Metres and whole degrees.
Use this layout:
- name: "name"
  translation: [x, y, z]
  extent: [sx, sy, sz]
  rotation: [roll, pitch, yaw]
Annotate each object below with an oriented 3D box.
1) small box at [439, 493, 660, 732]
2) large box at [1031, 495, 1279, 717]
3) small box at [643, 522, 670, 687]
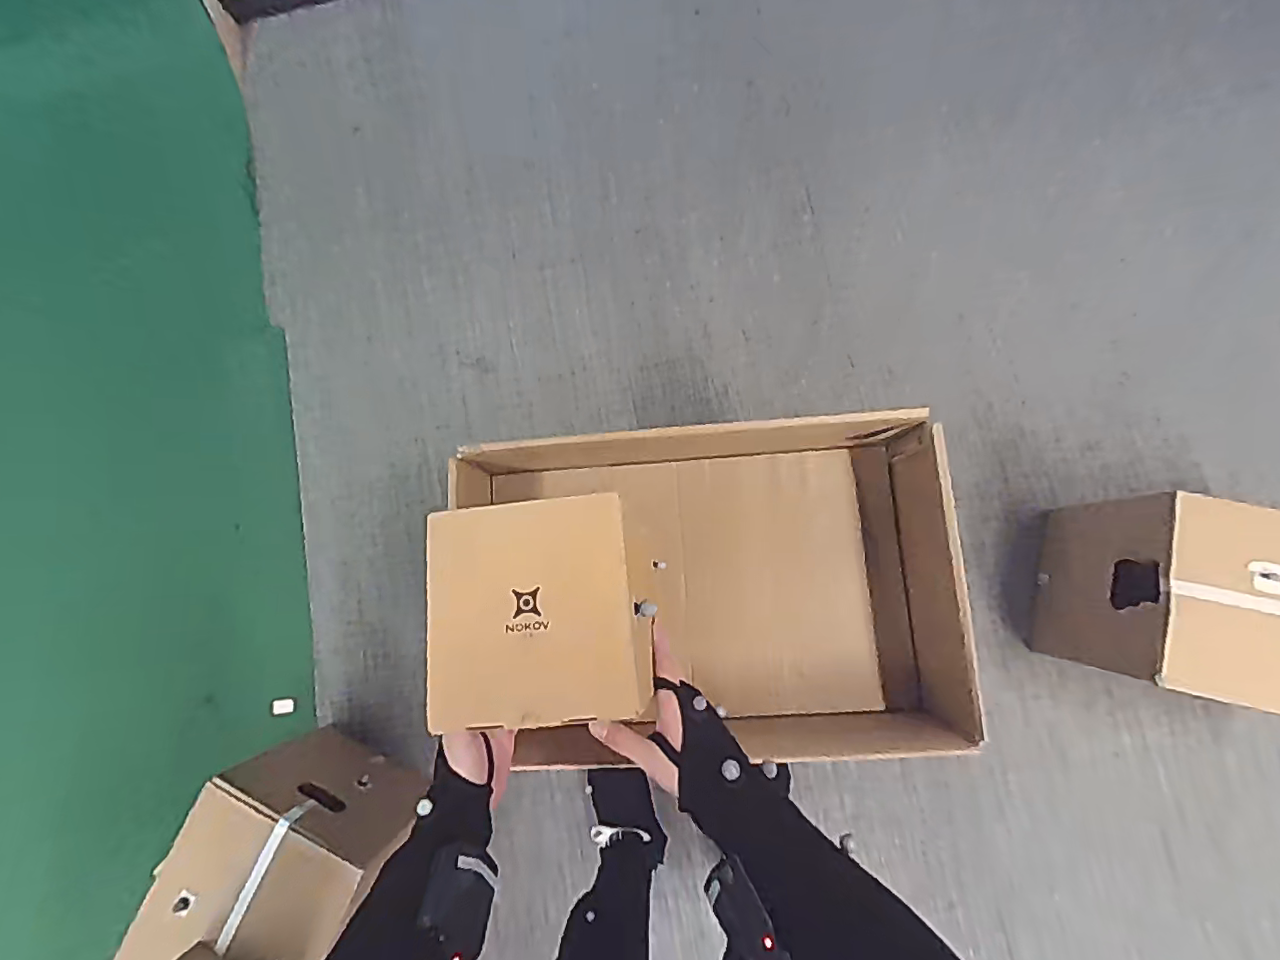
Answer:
- name: "small box"
  translation: [-0.073, 0.120, 0.507]
  extent: [0.168, 0.176, 0.179]
  rotation: [-7, 78, 4]
- name: "large box"
  translation: [1.022, 0.229, 0.969]
  extent: [0.408, 0.320, 0.320]
  rotation: [12, 82, 7]
- name: "small box"
  translation: [-0.053, 0.153, 0.664]
  extent: [0.168, 0.176, 0.179]
  rotation: [-5, 78, 6]
